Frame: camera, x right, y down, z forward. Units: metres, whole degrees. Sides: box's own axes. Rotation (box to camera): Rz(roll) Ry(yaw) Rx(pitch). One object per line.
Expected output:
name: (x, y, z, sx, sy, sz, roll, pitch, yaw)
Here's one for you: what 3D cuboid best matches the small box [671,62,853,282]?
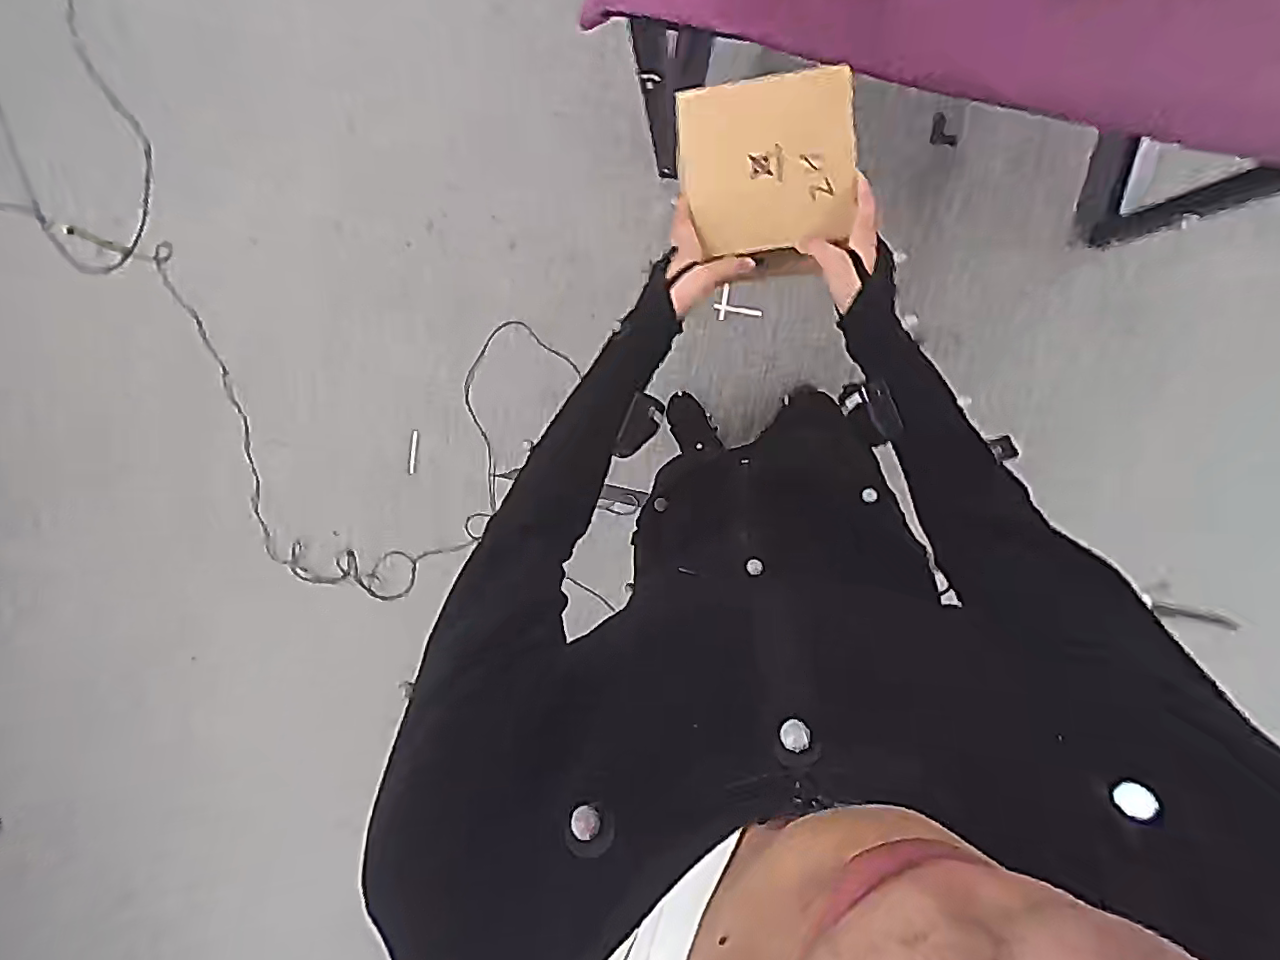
small box: (0.132, -0.337, 0.630, 0.179, 0.176, 0.168, -5, 99, 5)
